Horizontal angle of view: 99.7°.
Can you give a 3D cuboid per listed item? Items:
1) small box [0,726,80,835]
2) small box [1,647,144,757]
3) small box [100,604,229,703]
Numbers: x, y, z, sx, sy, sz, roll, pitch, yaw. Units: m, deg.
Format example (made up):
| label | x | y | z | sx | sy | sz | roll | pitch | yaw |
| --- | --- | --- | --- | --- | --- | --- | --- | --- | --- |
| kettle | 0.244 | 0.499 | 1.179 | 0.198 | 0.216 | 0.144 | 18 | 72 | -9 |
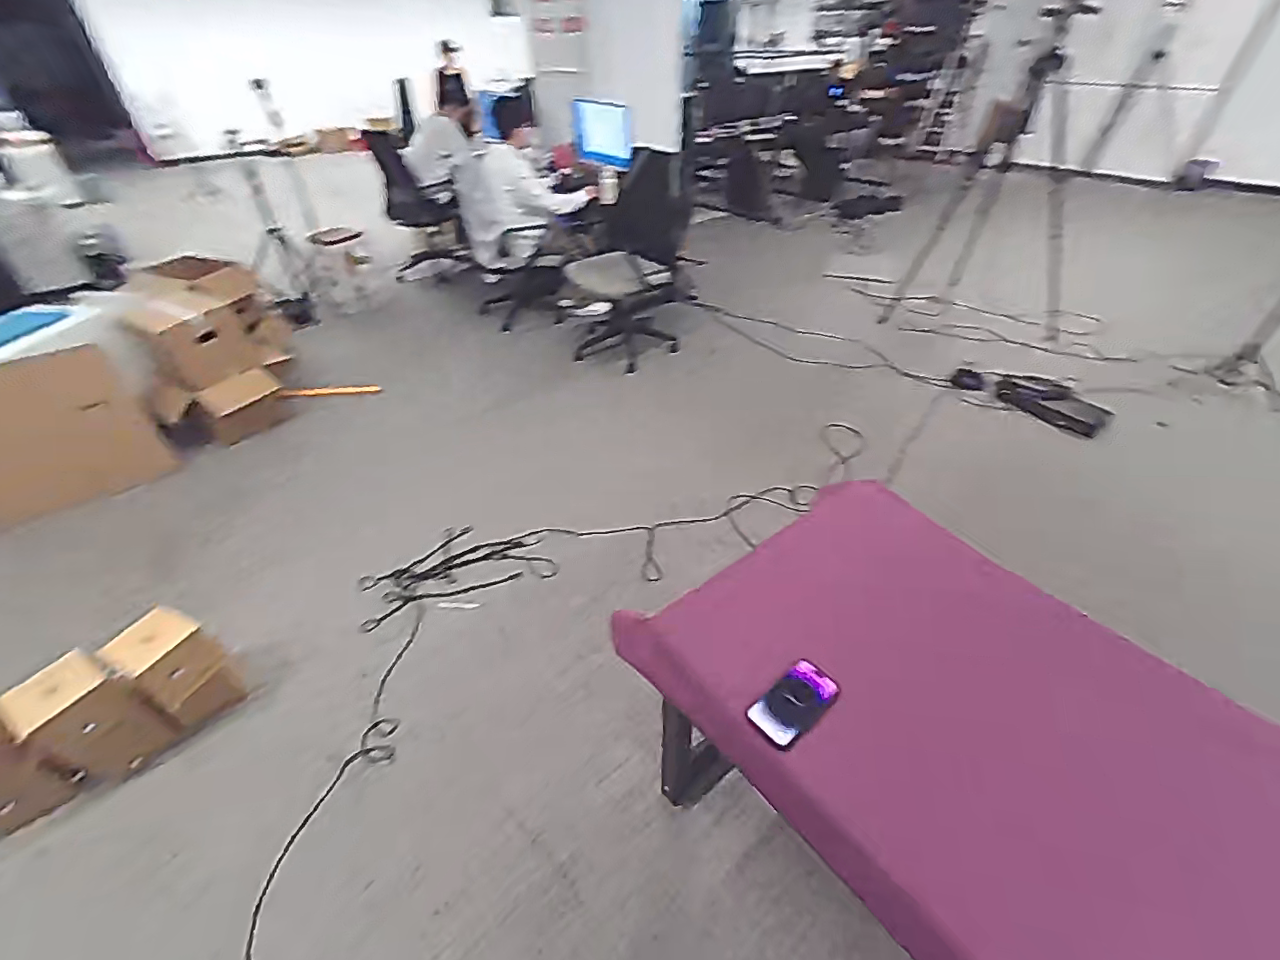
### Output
| label | x | y | z | sx | sy | sz | roll | pitch | yaw |
| --- | --- | --- | --- | --- | --- | --- | --- | --- | --- |
| small box | -1.596 | 0.760 | 1.388 | 0.179 | 0.176 | 0.168 | -30 | 47 | -28 |
| small box | -1.418 | 0.564 | 1.364 | 0.179 | 0.176 | 0.168 | 21 | 45 | 26 |
| small box | -1.276 | 0.473 | 1.465 | 0.179 | 0.176 | 0.168 | 15 | 42 | 20 |
